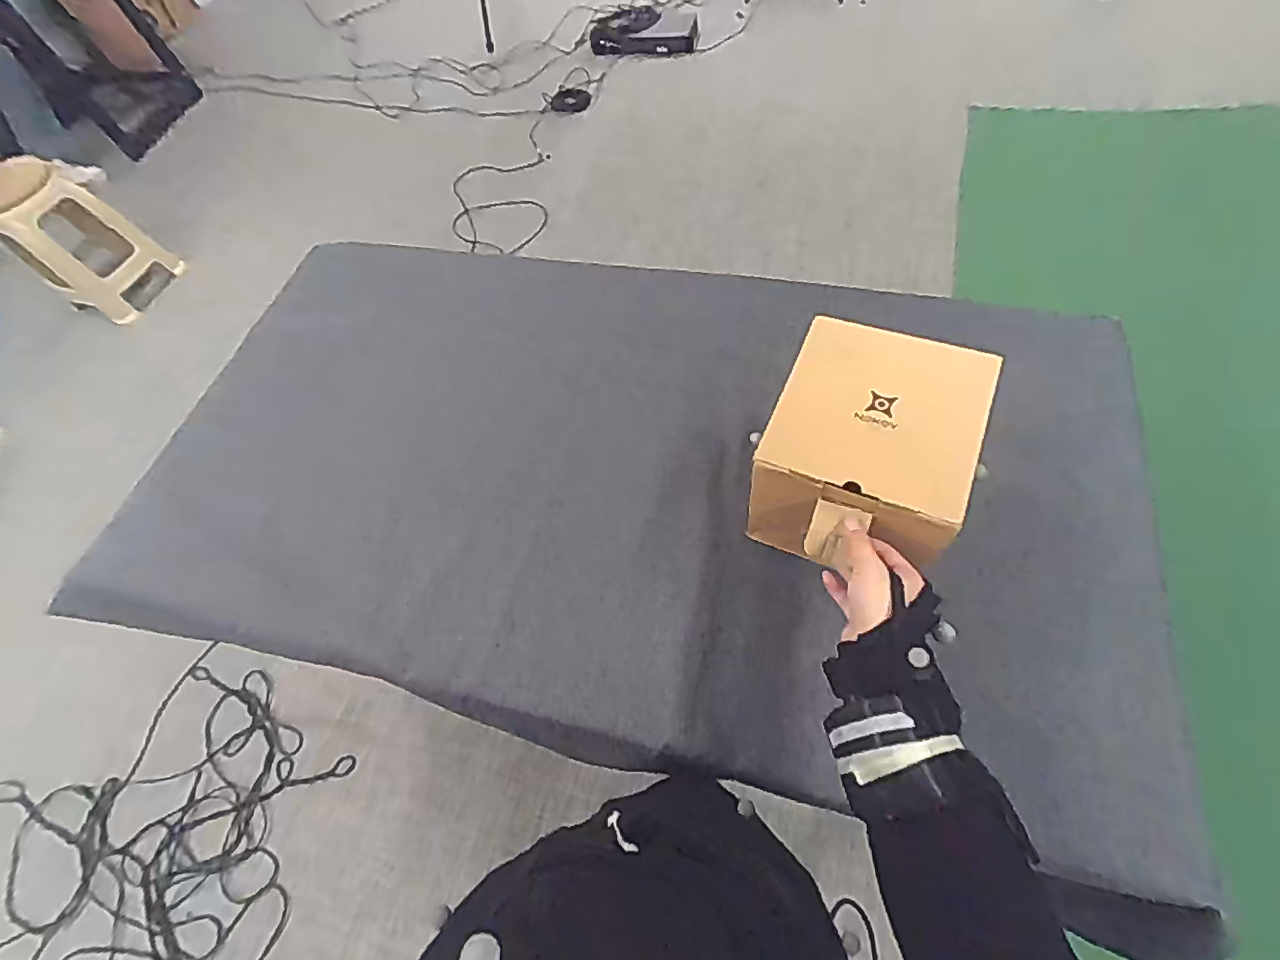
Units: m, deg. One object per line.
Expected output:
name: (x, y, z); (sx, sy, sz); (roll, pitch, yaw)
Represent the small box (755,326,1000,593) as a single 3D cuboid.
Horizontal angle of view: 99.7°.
small box: (0.218, -0.015, 0.534); (0.168, 0.176, 0.179); (19, 67, 18)
